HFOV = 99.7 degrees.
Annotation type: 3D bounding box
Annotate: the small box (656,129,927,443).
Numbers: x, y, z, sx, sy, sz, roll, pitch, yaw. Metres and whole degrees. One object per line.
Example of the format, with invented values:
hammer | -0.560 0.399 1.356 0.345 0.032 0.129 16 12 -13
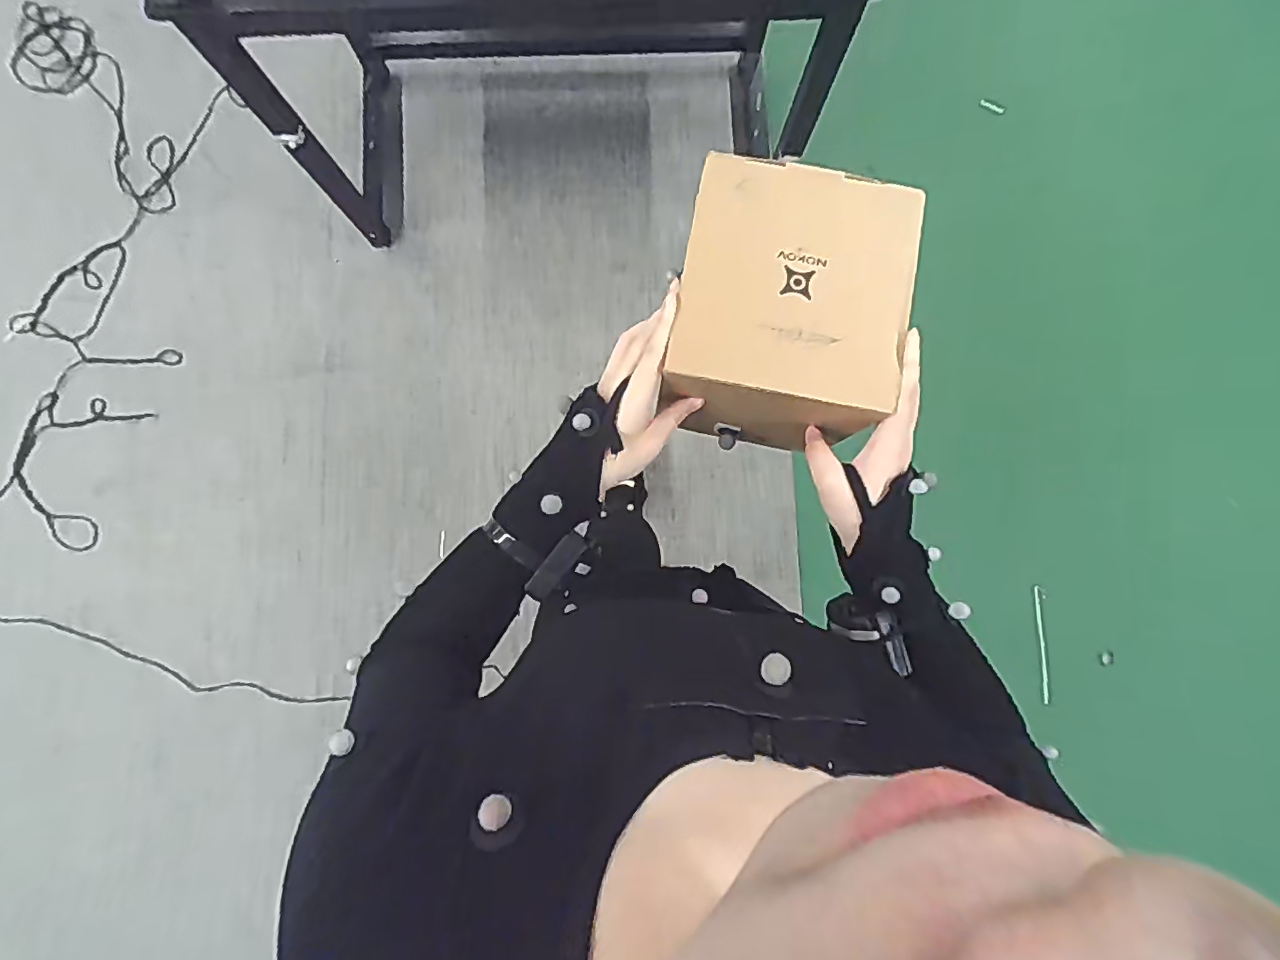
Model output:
small box | 0.109 -0.143 0.458 0.168 0.176 0.179 12 83 1
